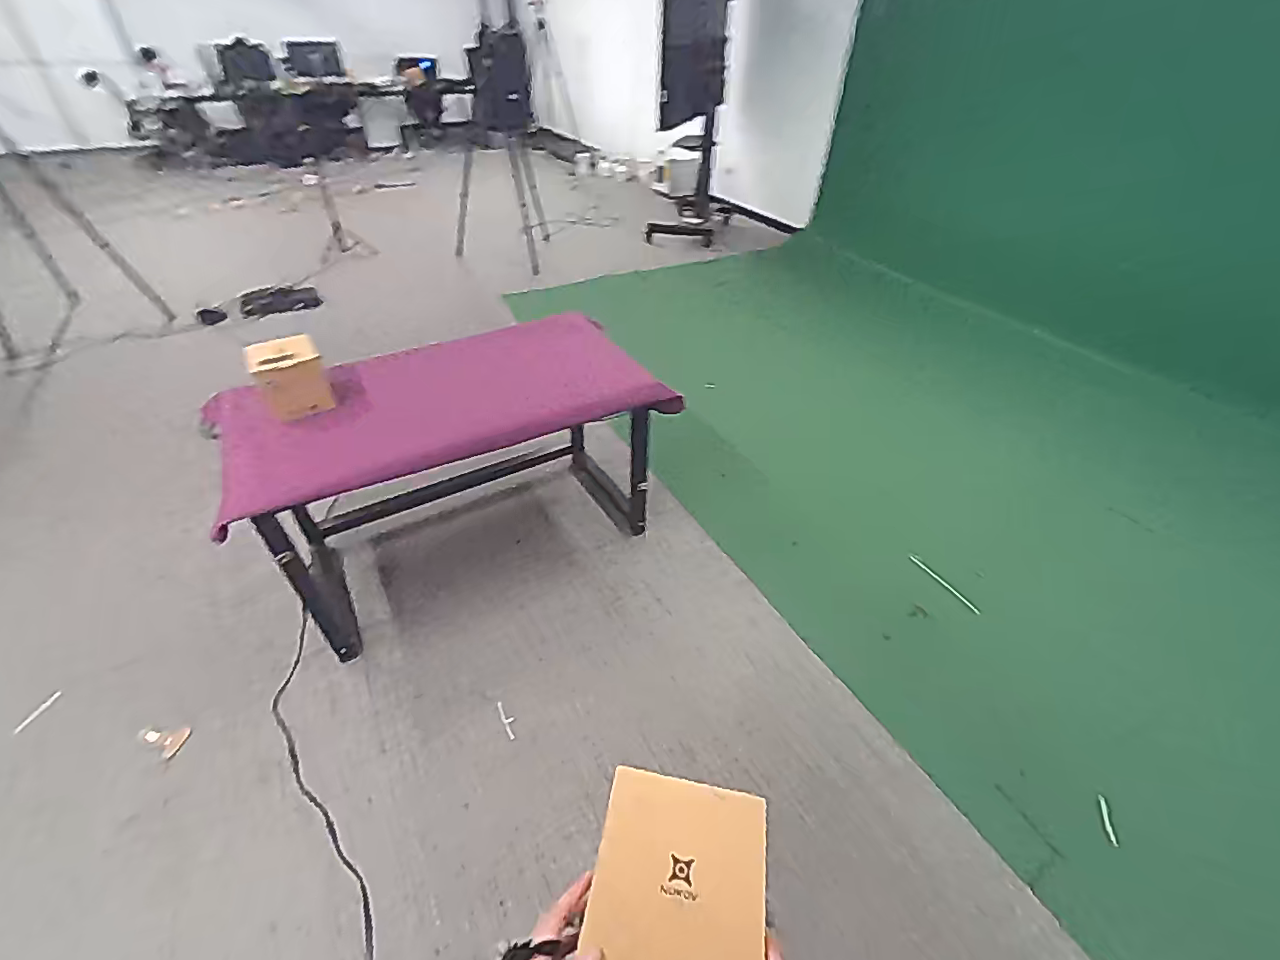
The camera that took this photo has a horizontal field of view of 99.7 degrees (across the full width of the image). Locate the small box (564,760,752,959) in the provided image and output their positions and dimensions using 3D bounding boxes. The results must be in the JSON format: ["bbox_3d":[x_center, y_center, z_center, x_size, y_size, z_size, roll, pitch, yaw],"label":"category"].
[{"bbox_3d":[0.021,0.438,0.580,0.168,0.176,0.179,9,42,5],"label":"small box"}]
